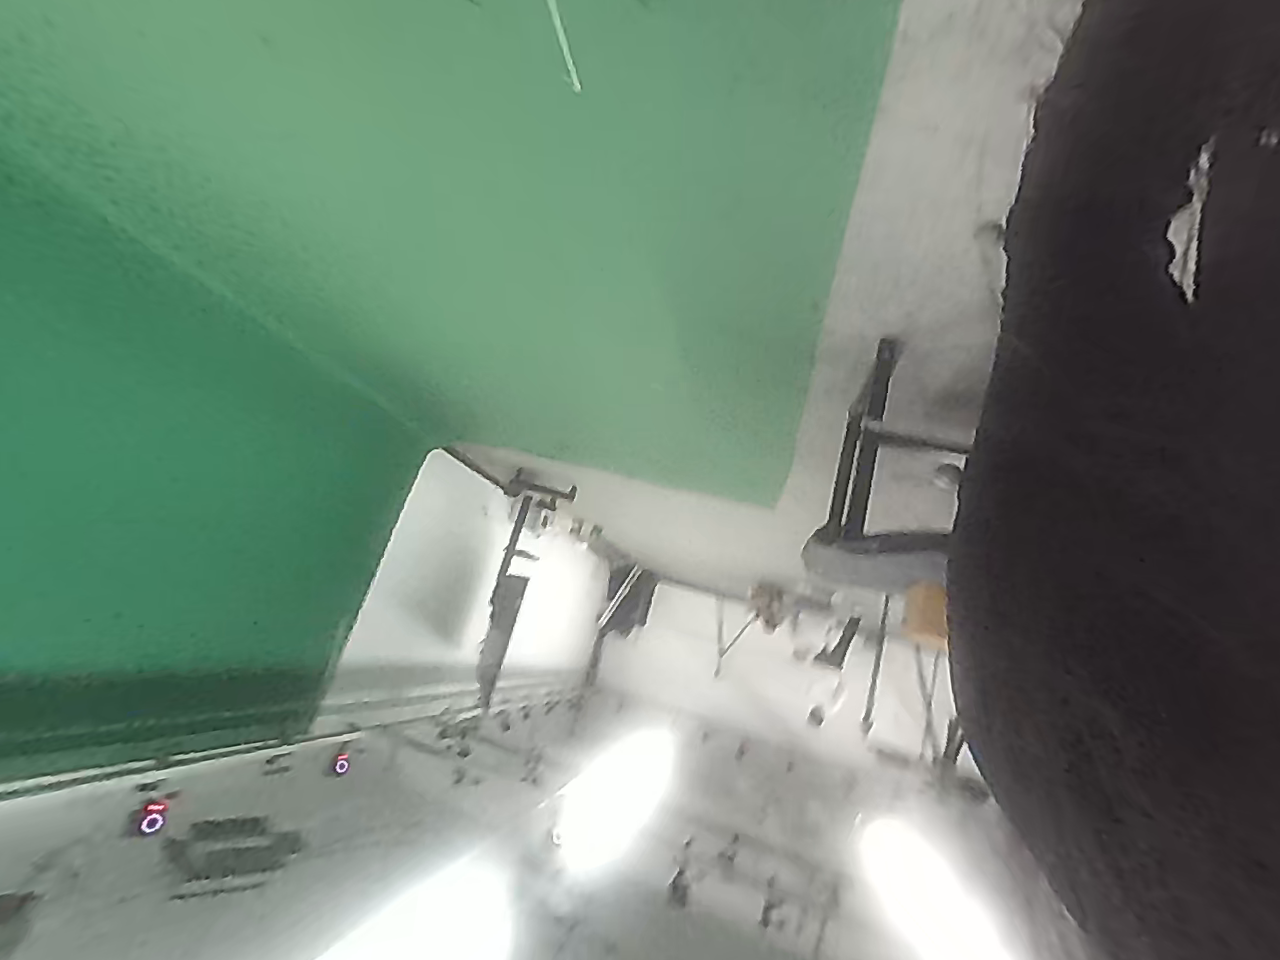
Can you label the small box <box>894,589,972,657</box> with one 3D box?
[{"bbox_3d":[0.948,0.461,1.747,0.168,0.176,0.179,14,164,10],"label":"small box"}]
